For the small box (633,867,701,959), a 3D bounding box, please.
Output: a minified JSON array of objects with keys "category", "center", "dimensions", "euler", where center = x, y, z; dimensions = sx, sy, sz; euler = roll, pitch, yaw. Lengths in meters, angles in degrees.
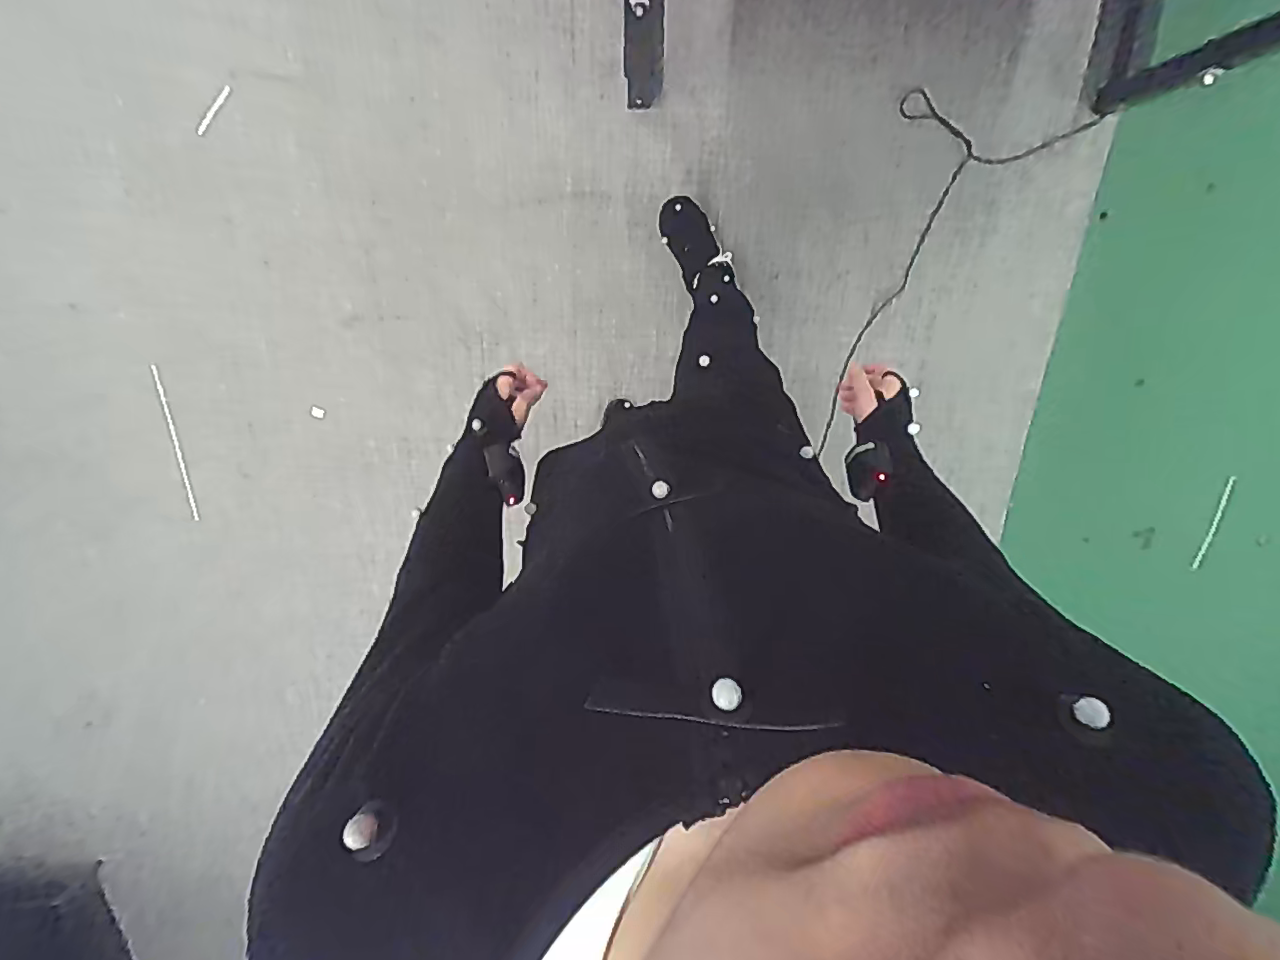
[{"category":"small box","center":[0.075,1.258,1.544],"dimensions":[0.168,0.176,0.179],"euler":[7,108,-1]}]
